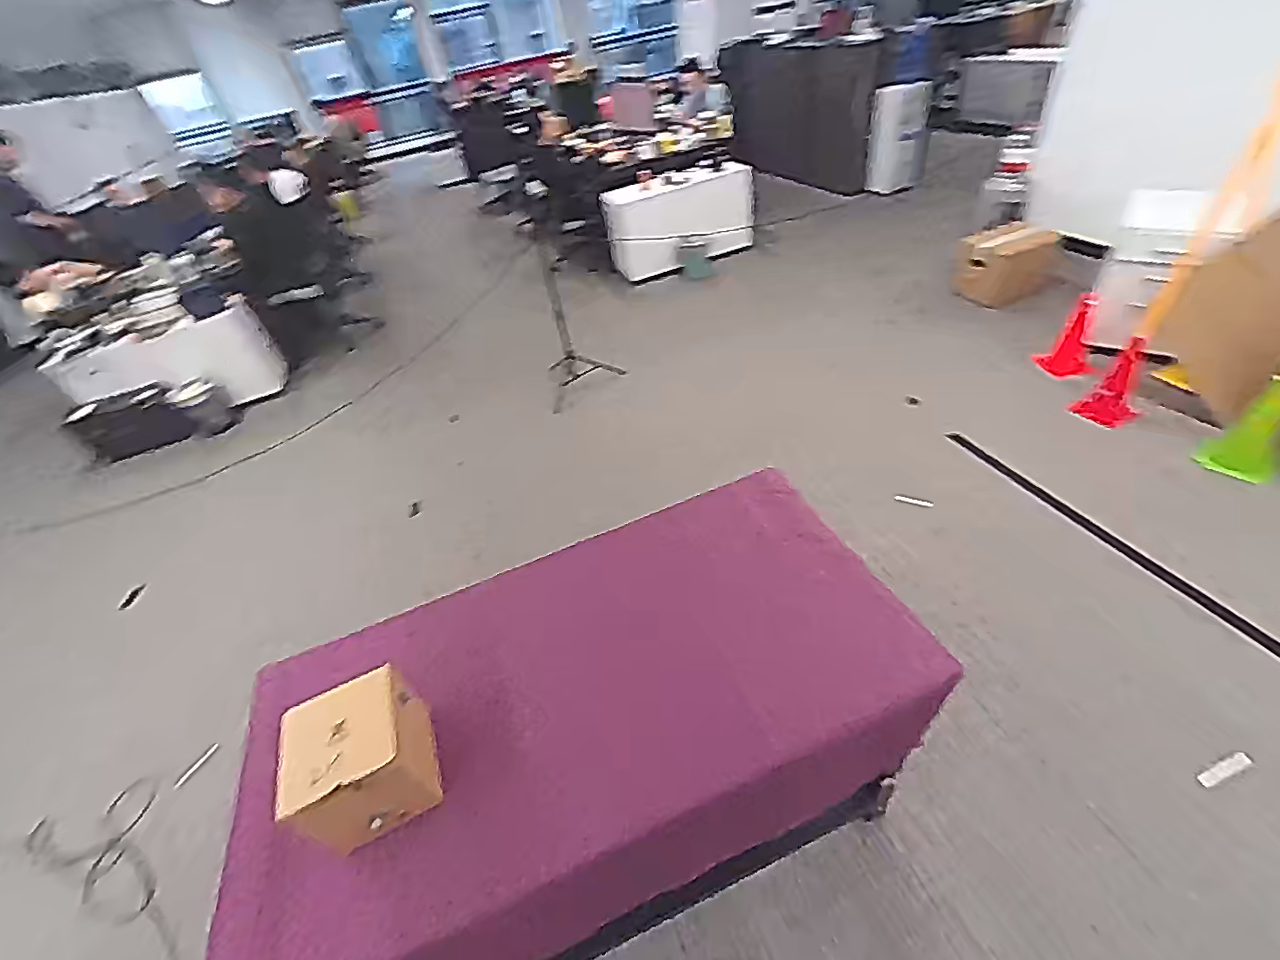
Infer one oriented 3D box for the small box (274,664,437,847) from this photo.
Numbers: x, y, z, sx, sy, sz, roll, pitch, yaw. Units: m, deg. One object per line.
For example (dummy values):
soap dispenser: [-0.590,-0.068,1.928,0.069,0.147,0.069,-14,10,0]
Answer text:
small box: [-0.445,0.439,0.865,0.168,0.176,0.179,-24,43,-13]
